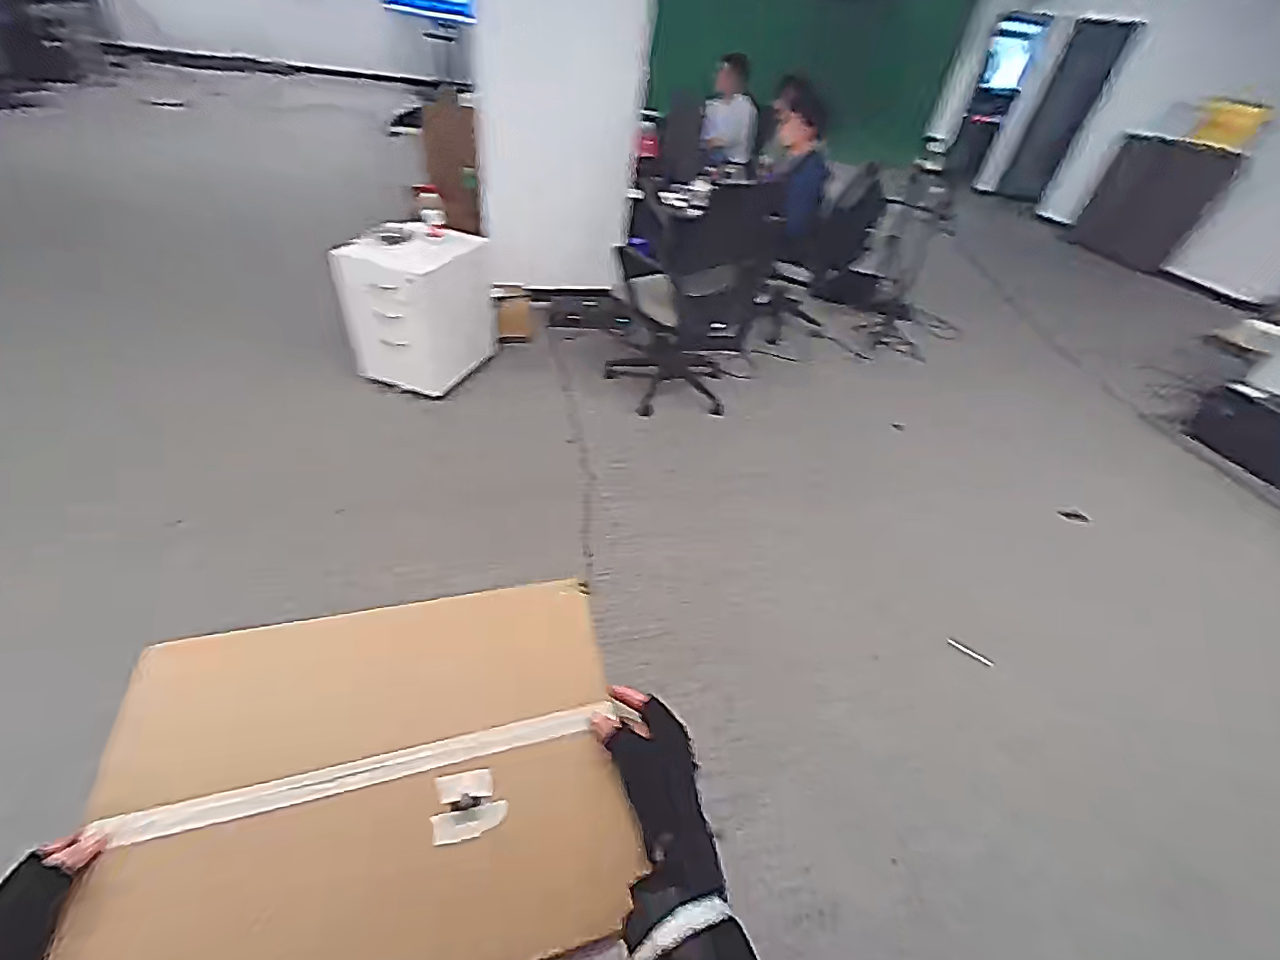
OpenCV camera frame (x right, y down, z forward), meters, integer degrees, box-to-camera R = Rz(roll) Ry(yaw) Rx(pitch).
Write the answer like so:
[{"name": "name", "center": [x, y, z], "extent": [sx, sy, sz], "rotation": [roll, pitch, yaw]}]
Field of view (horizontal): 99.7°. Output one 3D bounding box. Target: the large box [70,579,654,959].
[{"name": "large box", "center": [-0.241, 0.348, 0.576], "extent": [0.408, 0.320, 0.320], "rotation": [-6, 49, -18]}]
